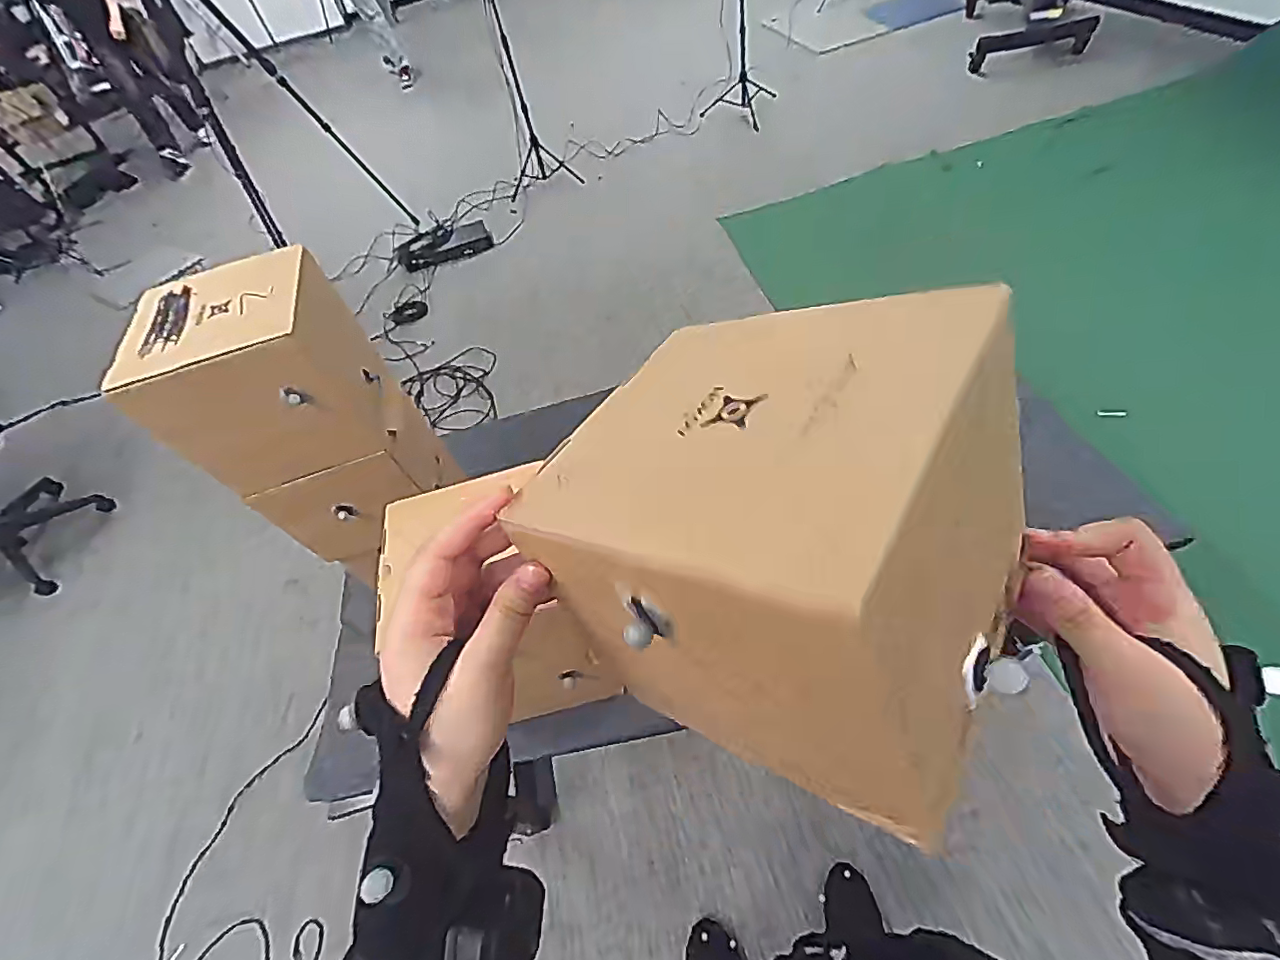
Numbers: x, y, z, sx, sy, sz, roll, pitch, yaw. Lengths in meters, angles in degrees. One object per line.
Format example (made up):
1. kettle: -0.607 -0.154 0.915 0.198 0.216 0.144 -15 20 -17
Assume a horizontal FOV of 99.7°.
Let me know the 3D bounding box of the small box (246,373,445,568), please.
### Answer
1. small box: -0.377 -0.009 0.729 0.179 0.176 0.168 -20 53 -2

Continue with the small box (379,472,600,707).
1. small box: -0.148 0.123 0.580 0.179 0.176 0.168 -17 52 0

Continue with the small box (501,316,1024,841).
1. small box: 0.072 0.039 0.276 0.179 0.176 0.168 11 52 44

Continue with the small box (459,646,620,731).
1. small box: -0.130 0.212 0.715 0.179 0.176 0.168 -15 51 1

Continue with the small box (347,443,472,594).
1. small box: -0.355 0.076 0.869 0.168 0.176 0.179 -20 52 -3
